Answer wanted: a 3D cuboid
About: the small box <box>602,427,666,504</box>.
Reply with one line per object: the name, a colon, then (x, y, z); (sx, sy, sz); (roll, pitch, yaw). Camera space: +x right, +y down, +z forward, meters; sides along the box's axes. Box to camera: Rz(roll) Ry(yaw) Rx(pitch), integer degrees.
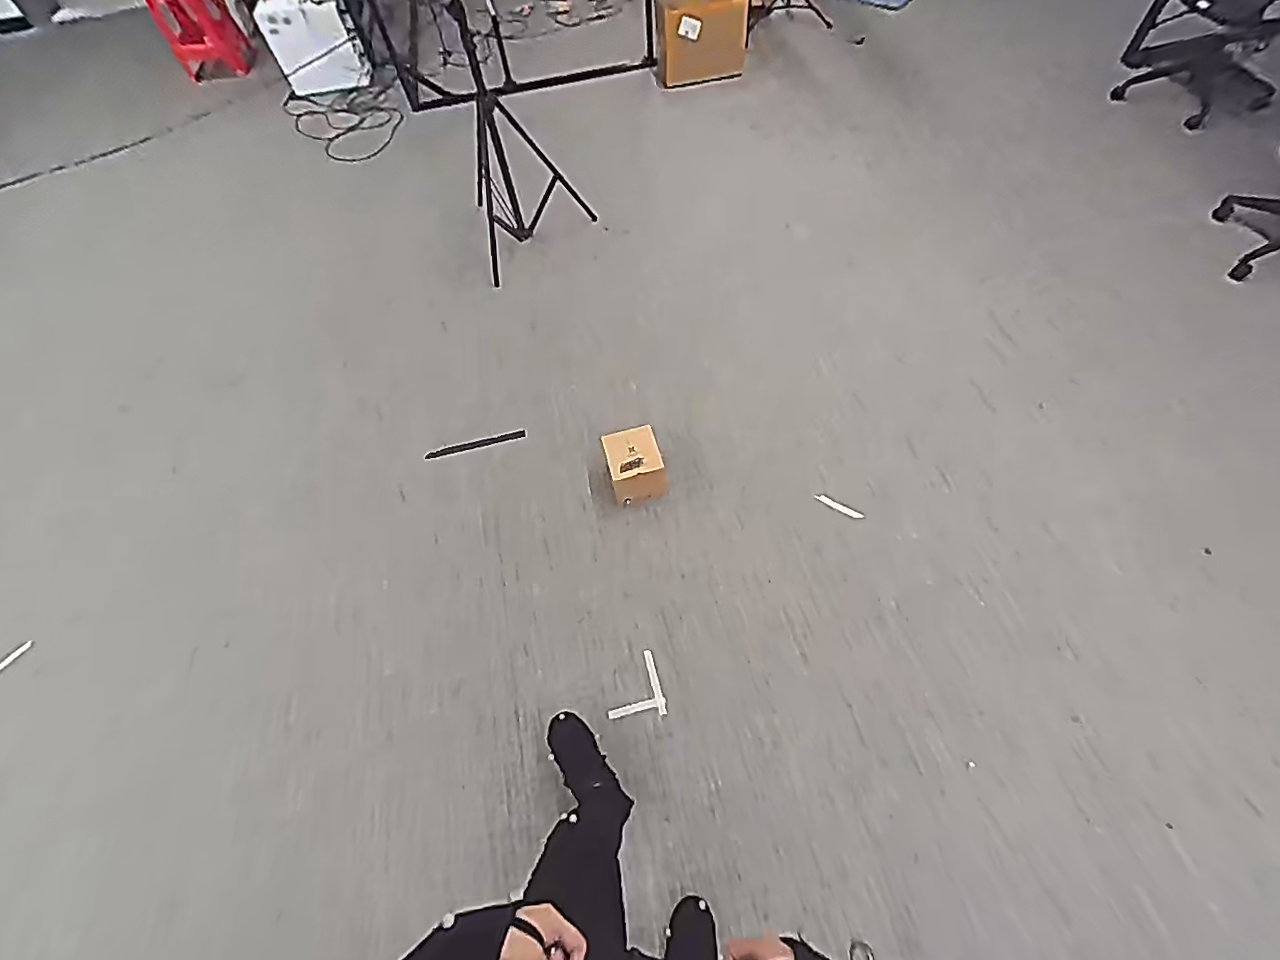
small box: (-0.016, -0.040, 1.740); (0.168, 0.176, 0.179); (-15, 59, -4)
